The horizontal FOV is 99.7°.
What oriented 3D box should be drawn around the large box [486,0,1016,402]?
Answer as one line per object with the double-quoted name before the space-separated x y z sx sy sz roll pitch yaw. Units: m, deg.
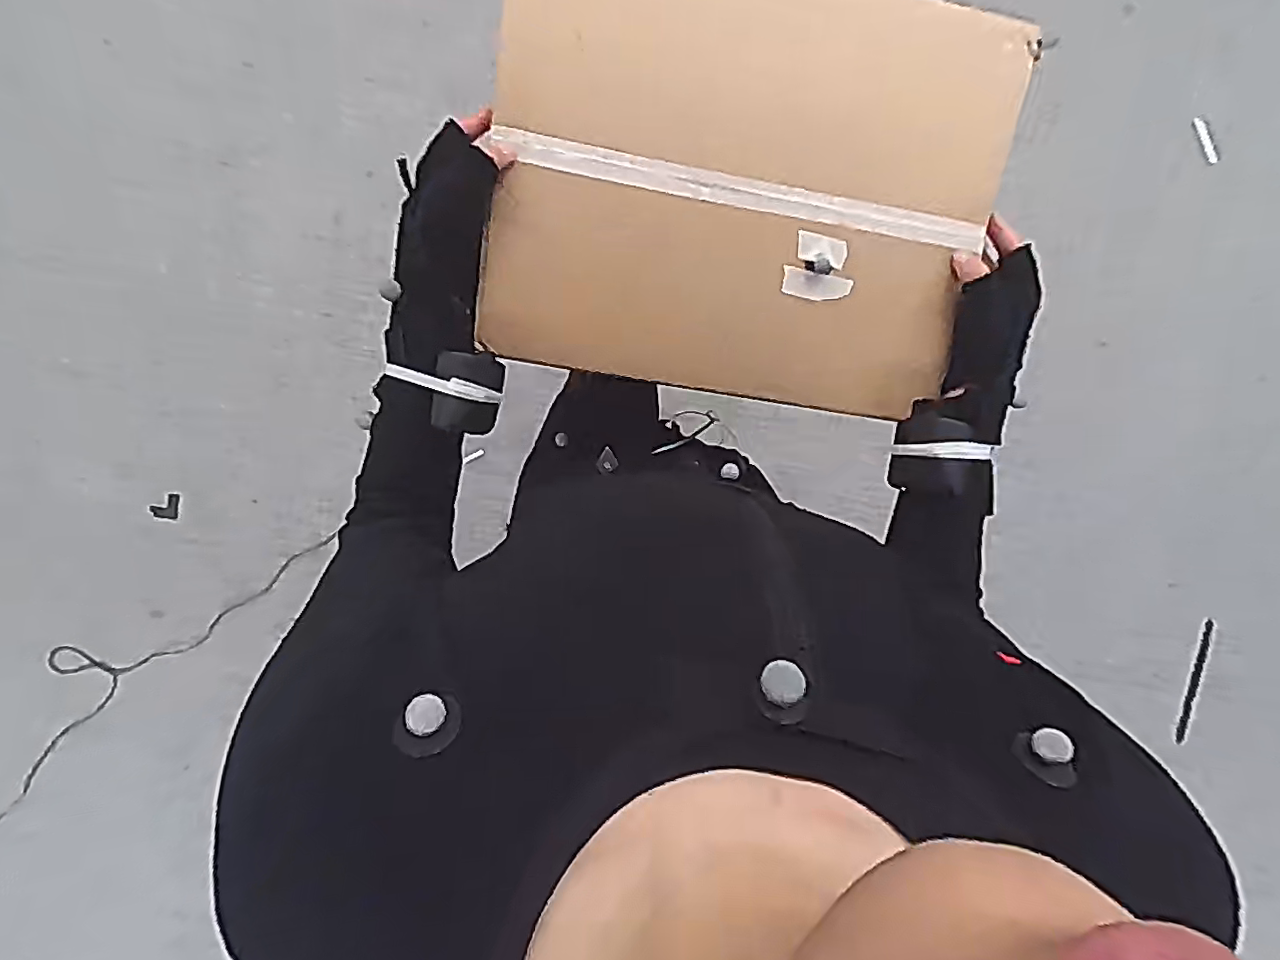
"large box" 0.069 -0.276 0.583 0.408 0.320 0.320 7 105 -8
